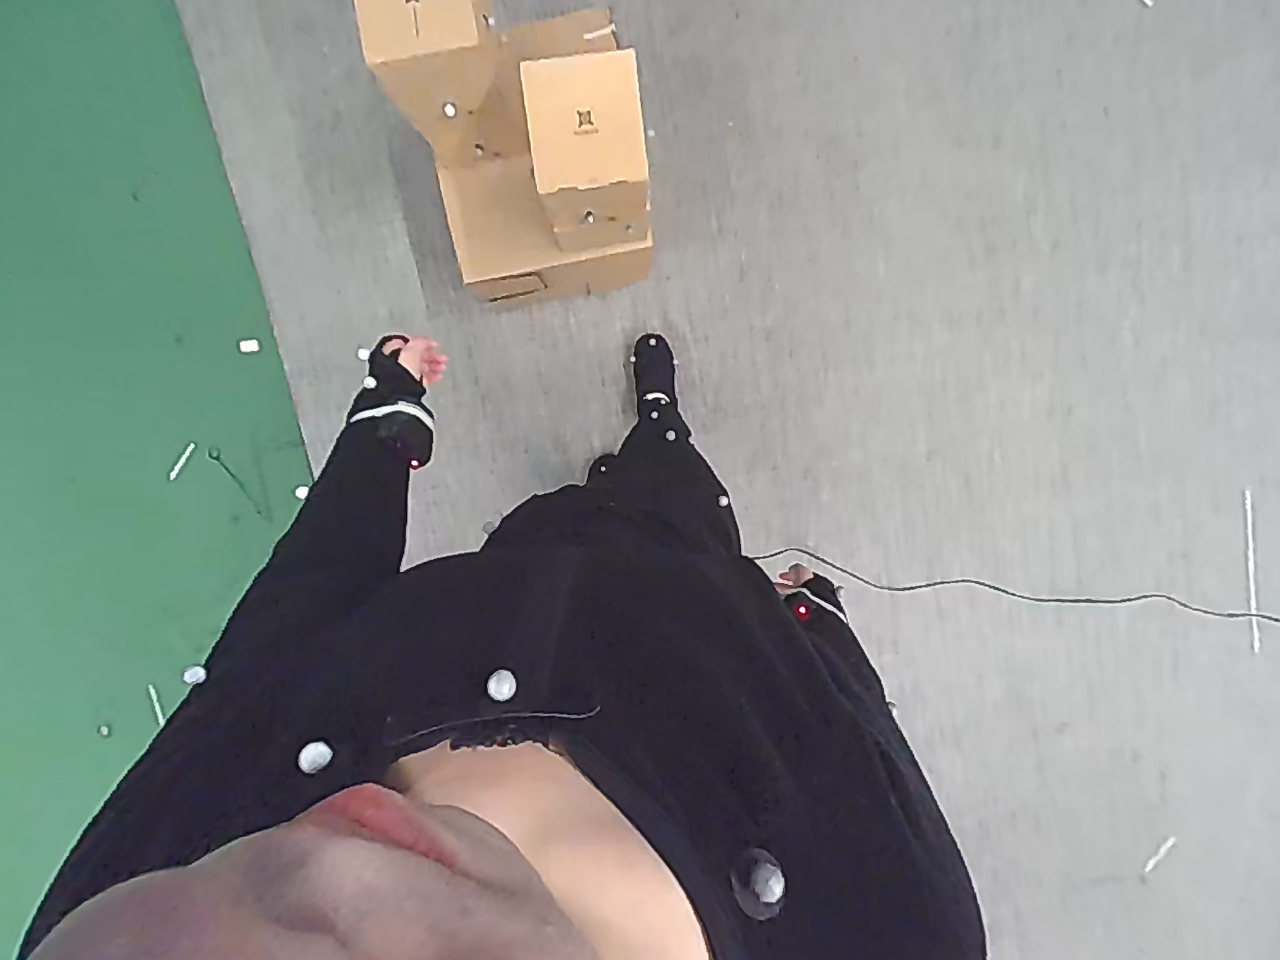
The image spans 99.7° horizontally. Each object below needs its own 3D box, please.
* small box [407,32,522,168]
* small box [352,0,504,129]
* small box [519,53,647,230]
[{"bbox_3d":[-0.328,-0.713,0.992,0.168,0.176,0.179,-11,95,2],"label":"small box"},{"bbox_3d":[-0.320,-0.684,0.829,0.168,0.176,0.179,-9,96,2],"label":"small box"},{"bbox_3d":[-0.084,-0.519,0.851,0.168,0.176,0.179,-8,97,0],"label":"small box"}]
